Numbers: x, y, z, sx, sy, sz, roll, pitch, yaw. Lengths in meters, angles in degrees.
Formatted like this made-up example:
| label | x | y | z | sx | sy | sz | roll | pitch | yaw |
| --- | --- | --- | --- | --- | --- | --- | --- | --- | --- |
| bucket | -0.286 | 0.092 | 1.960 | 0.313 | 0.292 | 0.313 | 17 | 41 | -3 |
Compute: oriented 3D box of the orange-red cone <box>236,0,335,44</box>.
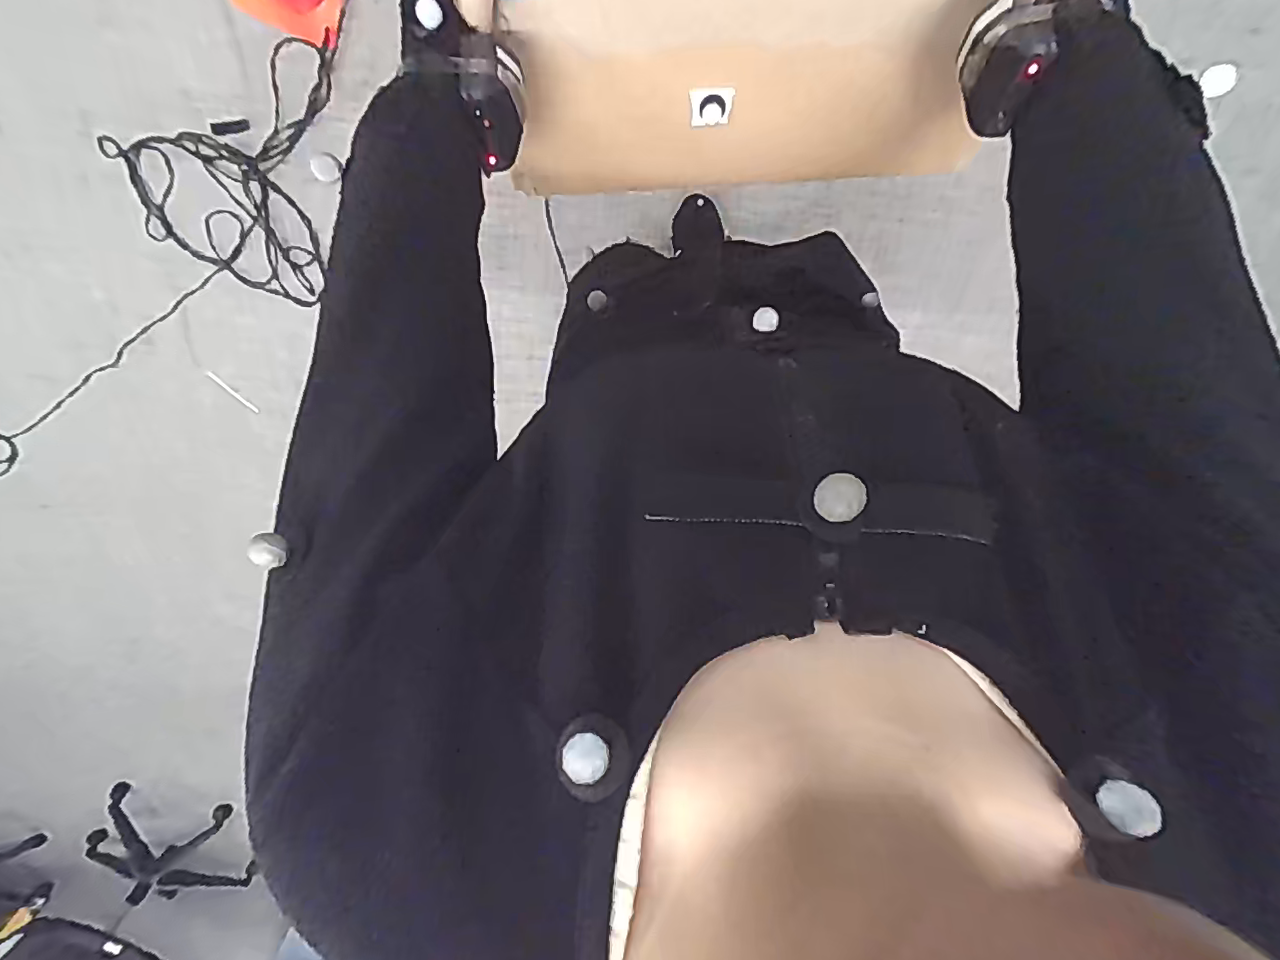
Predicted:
| label | x | y | z | sx | sy | sz | roll | pitch | yaw |
| --- | --- | --- | --- | --- | --- | --- | --- | --- | --- |
| orange-red cone | -0.651 | -0.870 | 0.824 | 0.199 | 0.360 | 0.198 | 23 | 113 | -7 |
